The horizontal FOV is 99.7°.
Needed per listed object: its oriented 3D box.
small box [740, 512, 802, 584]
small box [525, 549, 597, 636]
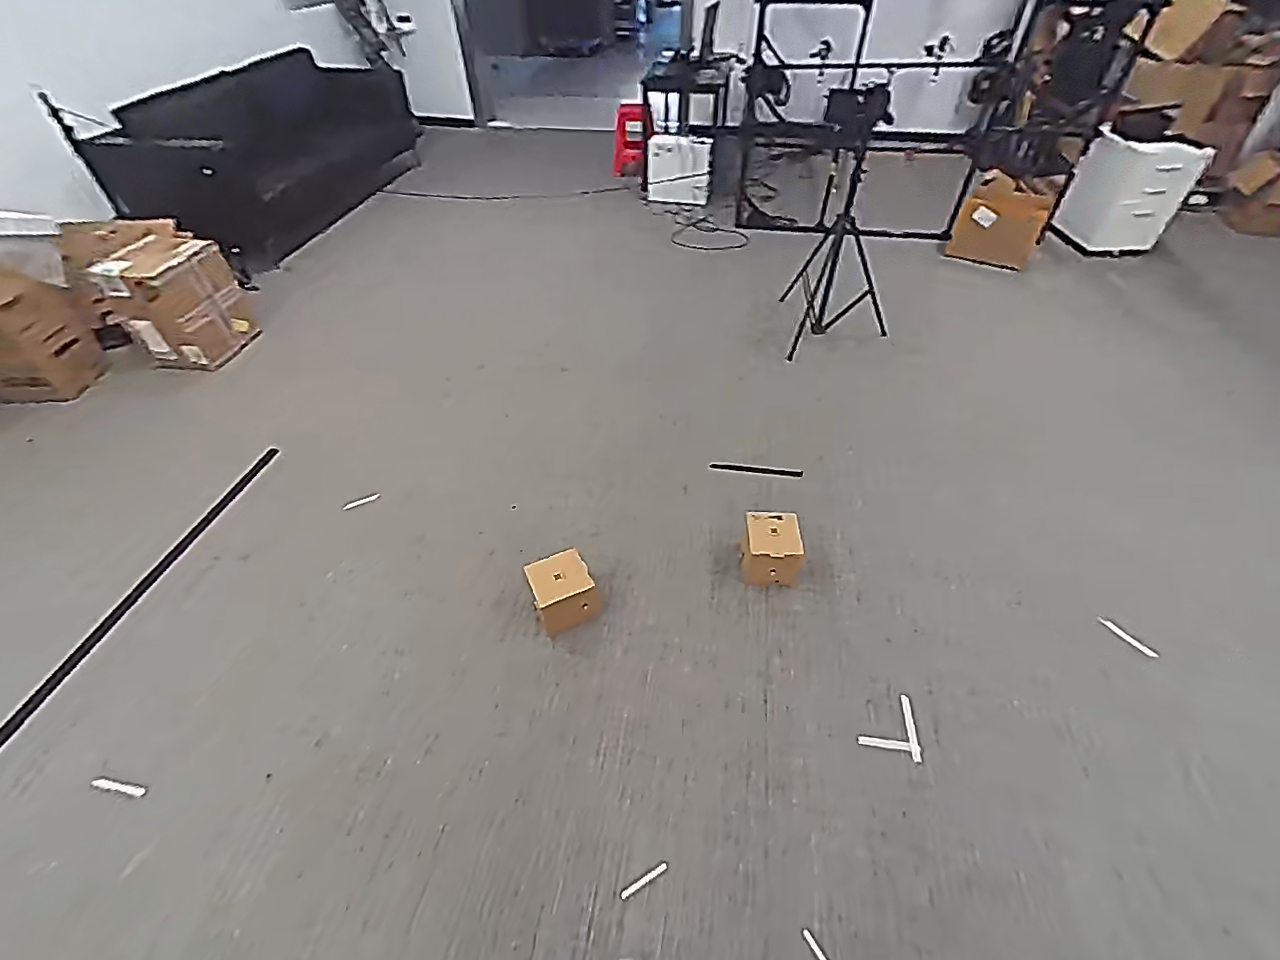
[{"bbox_3d":[0.427,0.227,1.782,0.168,0.176,0.179,2,47,2],"label":"small box"},{"bbox_3d":[-0.240,0.351,1.677,0.179,0.176,0.168,-21,48,-17],"label":"small box"}]
